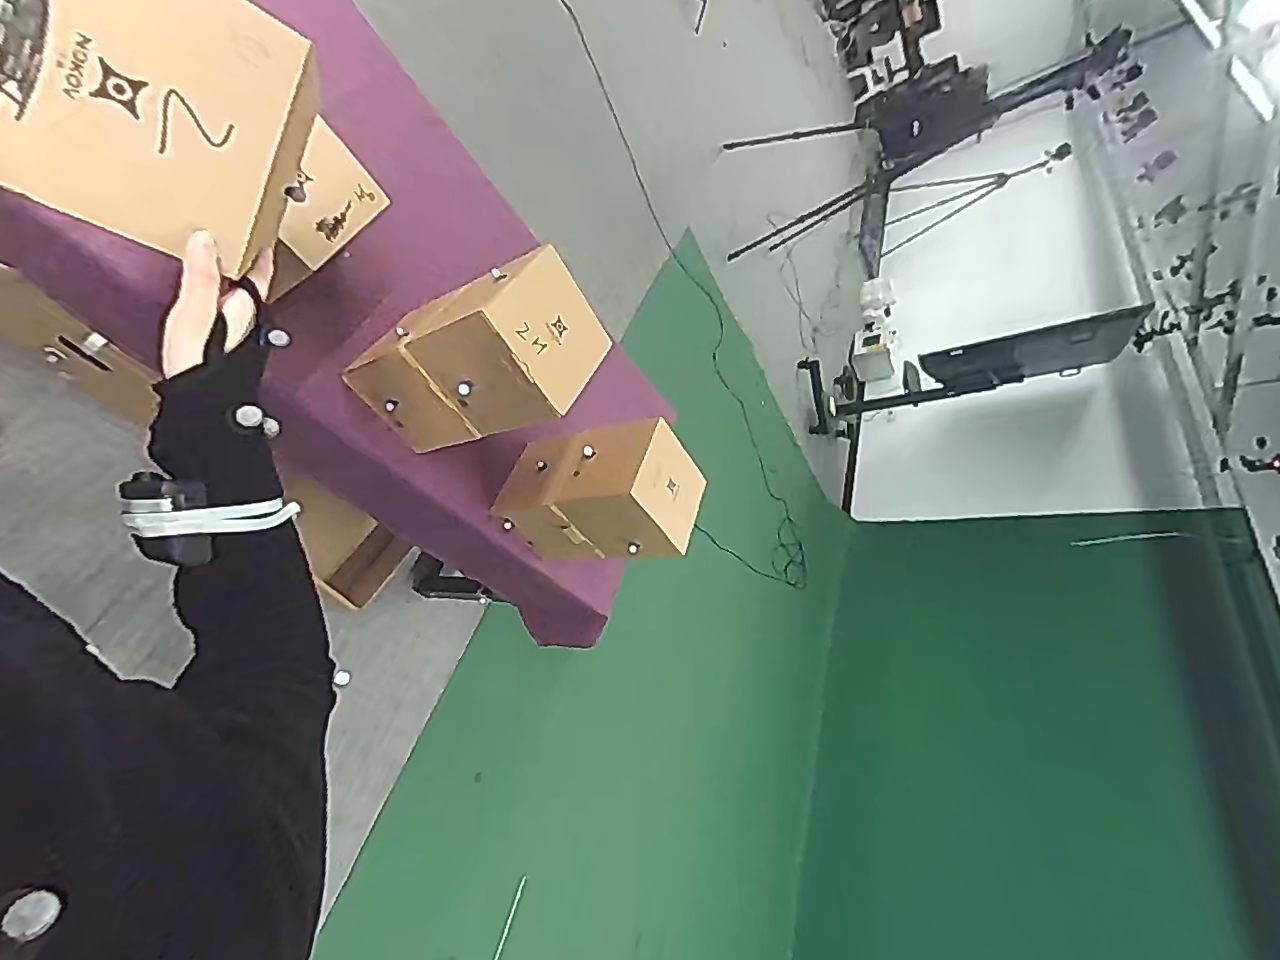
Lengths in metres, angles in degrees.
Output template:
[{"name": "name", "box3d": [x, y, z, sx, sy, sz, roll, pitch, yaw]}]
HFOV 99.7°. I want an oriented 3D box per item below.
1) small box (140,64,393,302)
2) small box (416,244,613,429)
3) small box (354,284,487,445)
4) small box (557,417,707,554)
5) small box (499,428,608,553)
[{"name": "small box", "box3d": [-0.461, -0.355, 0.674, 0.179, 0.176, 0.168, 49, 49, -36]}, {"name": "small box", "box3d": [-0.174, -0.194, 0.761, 0.168, 0.176, 0.179, 55, 46, -32]}, {"name": "small box", "box3d": [-0.308, -0.176, 0.855, 0.168, 0.176, 0.179, 54, 47, -33]}, {"name": "small box", "box3d": [-0.011, 0.015, 0.946, 0.179, 0.176, 0.168, 51, 47, -35]}, {"name": "small box", "box3d": [-0.143, 0.028, 1.040, 0.168, 0.176, 0.179, 50, 48, -36]}]
